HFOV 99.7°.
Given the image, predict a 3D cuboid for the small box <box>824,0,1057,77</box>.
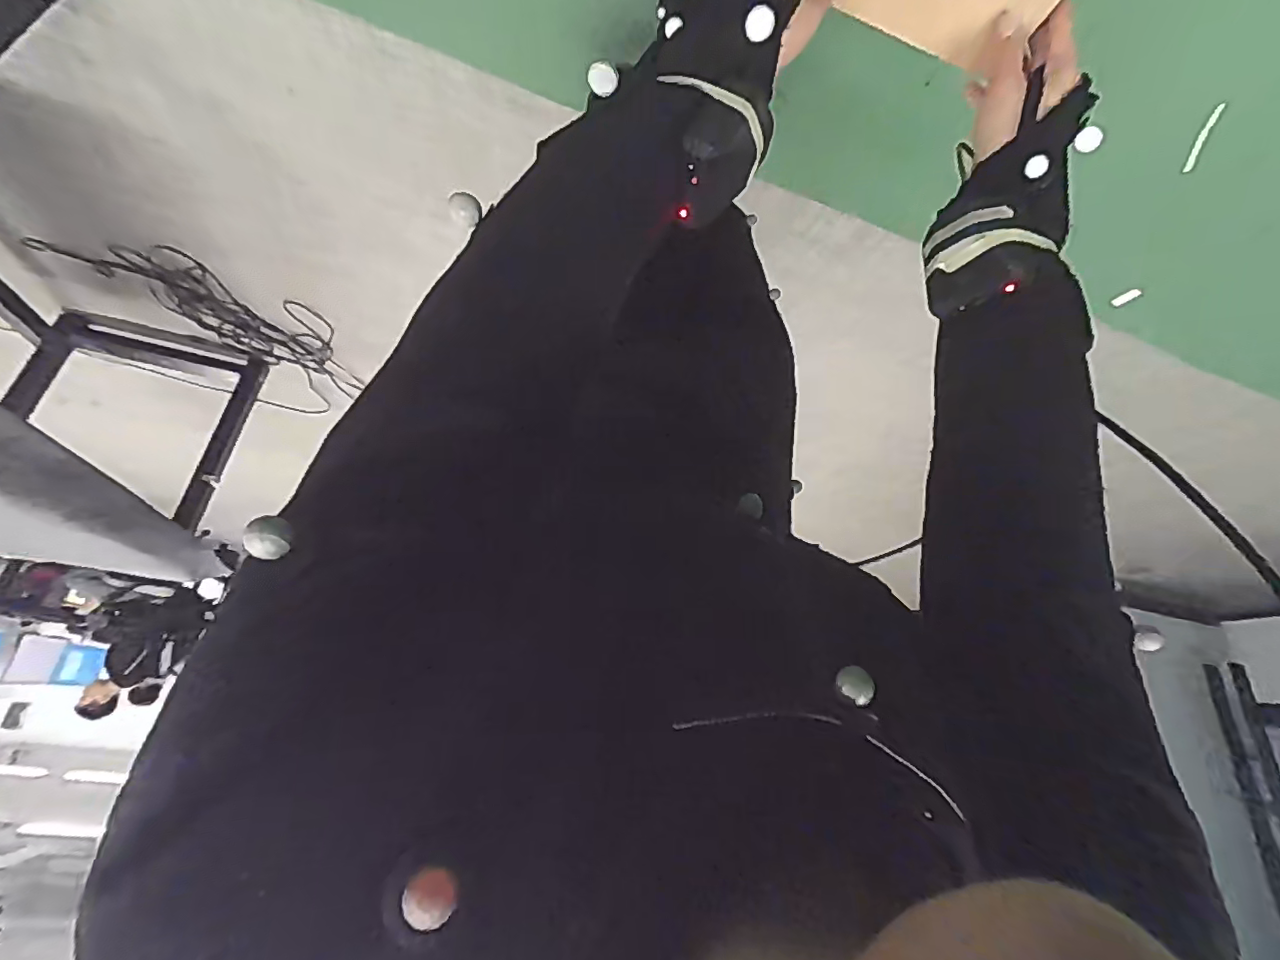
[{"bbox_3d":[0.223,-0.428,0.351,0.168,0.176,0.179,13,156,-13],"label":"small box"}]
